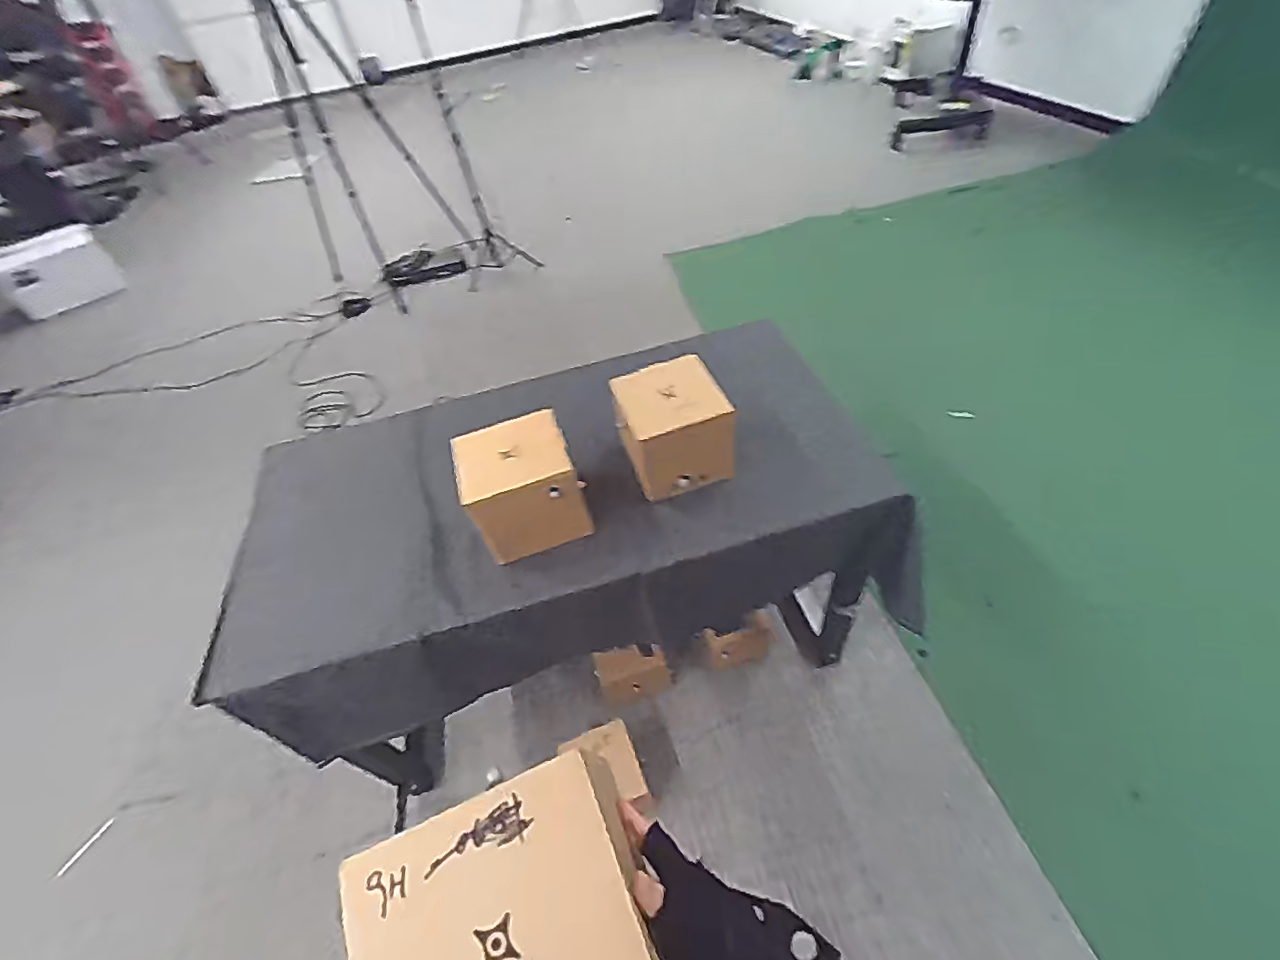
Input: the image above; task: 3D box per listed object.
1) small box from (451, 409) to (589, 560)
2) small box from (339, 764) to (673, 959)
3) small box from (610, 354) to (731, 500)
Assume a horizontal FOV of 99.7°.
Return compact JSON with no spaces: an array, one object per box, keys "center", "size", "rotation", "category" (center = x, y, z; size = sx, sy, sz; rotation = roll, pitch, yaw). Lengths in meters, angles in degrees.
[{"center":[-0.204,0.012,0.930],"size":[0.179,0.176,0.168],"rotation":[-19,48,-8],"category":"small box"},{"center":[-0.076,0.320,0.379],"size":[0.168,0.176,0.179],"rotation":[-21,63,-10],"category":"small box"},{"center":[0.055,-0.094,0.977],"size":[0.168,0.176,0.179],"rotation":[-18,49,-5],"category":"small box"}]
